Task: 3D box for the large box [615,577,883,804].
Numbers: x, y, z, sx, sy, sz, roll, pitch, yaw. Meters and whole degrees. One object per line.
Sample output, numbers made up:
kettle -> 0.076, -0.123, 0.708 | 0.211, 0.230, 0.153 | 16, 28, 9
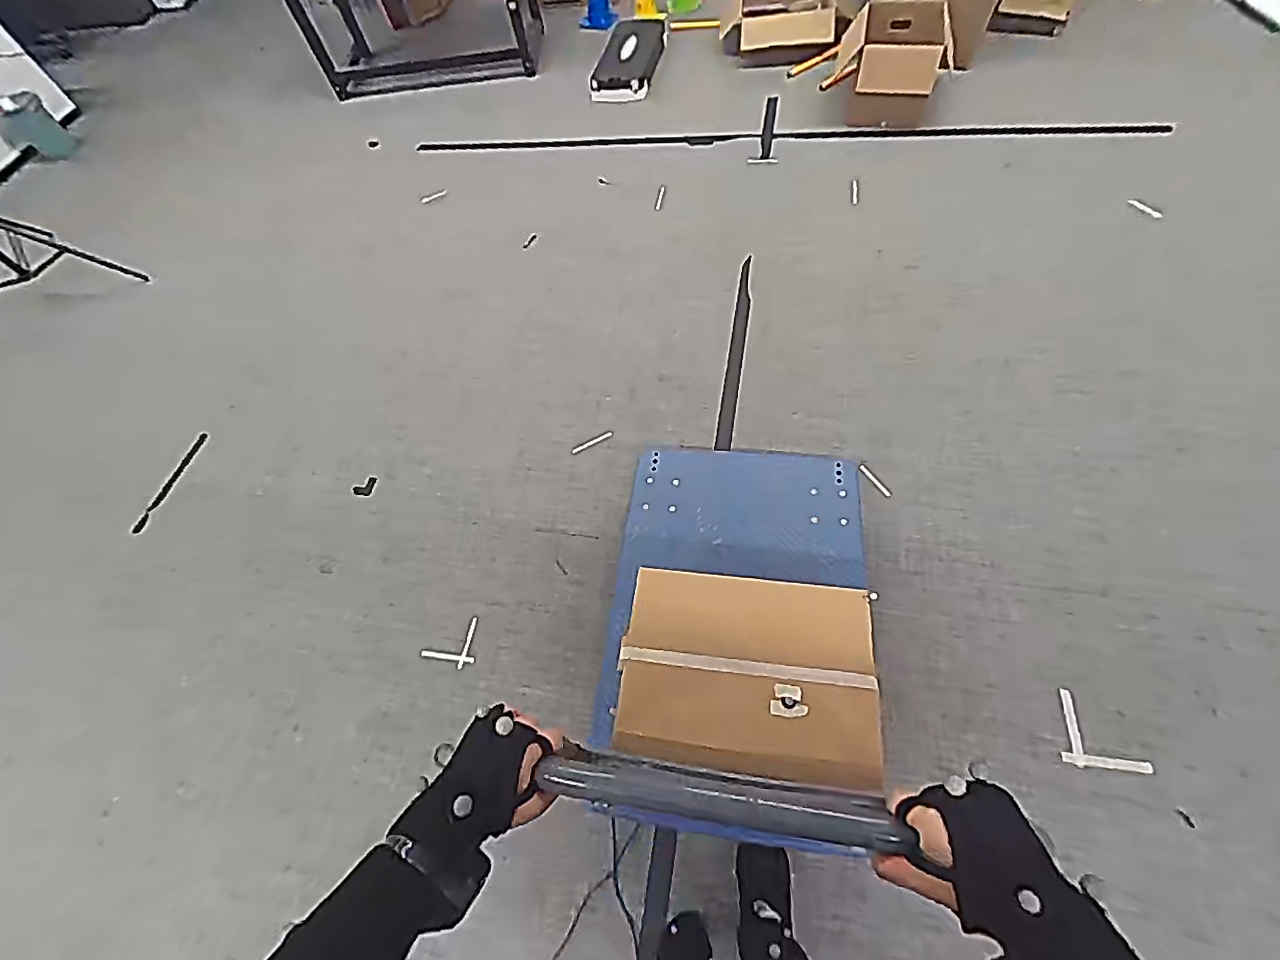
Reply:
large box -> 0.184, 0.396, 1.005 | 0.408, 0.320, 0.320 | 4, 60, 8
